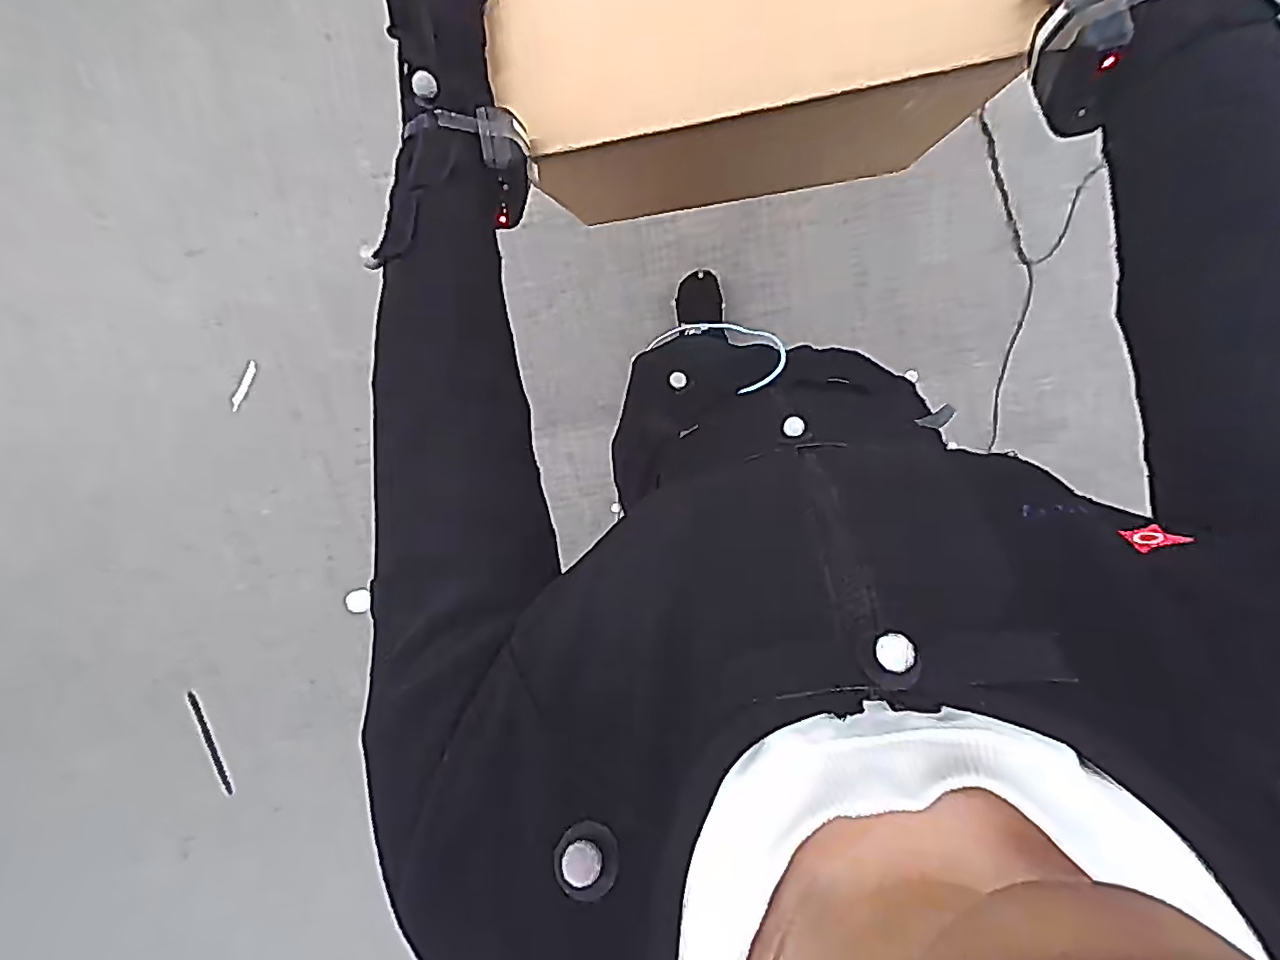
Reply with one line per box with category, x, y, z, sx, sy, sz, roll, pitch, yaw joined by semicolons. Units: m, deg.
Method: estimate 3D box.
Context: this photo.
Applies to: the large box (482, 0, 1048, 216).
large box;0.081;-0.477;0.509;0.408;0.320;0.320;-6;106;9
